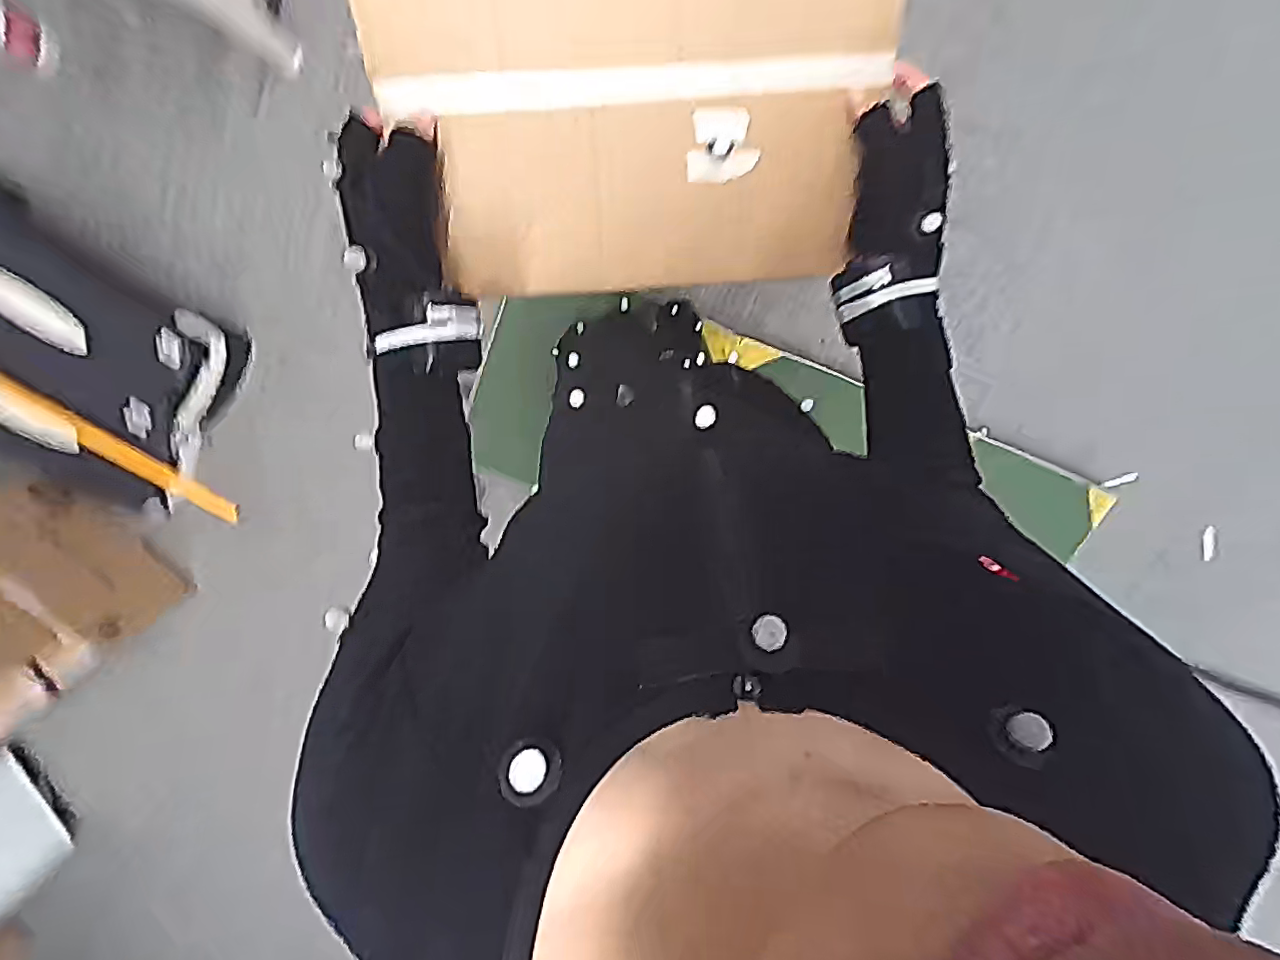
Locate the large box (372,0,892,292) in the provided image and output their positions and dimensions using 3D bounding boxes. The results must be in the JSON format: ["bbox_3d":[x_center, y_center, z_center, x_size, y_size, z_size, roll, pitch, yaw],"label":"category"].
[{"bbox_3d":[-0.012,-0.402,0.565,0.408,0.320,0.320,-4,123,-2],"label":"large box"}]
